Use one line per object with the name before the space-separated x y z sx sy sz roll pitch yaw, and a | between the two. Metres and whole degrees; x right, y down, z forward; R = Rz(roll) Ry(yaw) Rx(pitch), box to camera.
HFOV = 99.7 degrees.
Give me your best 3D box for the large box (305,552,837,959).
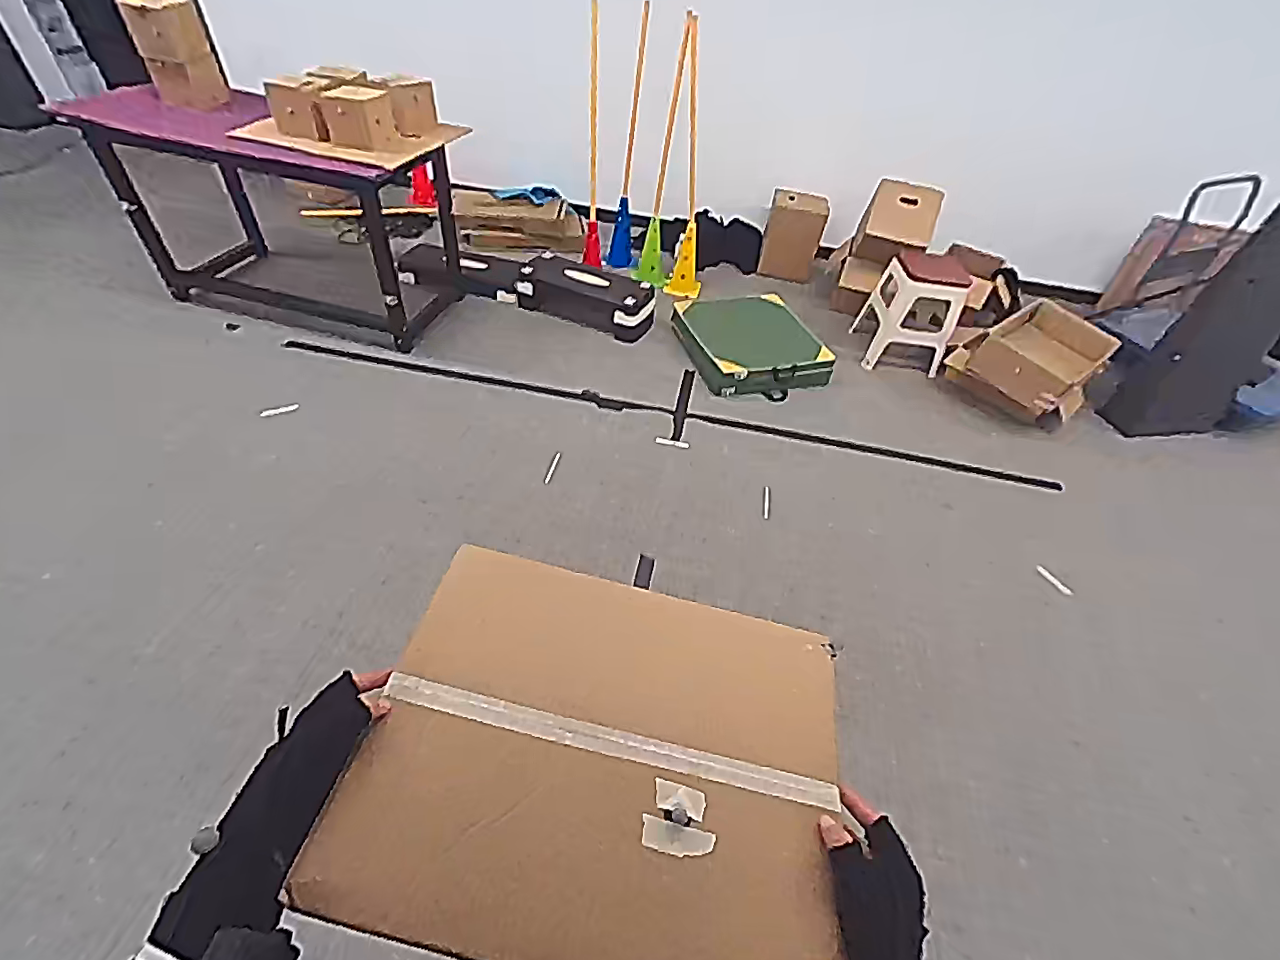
large box | -0.048 0.328 0.594 0.408 0.320 0.320 15 48 1
